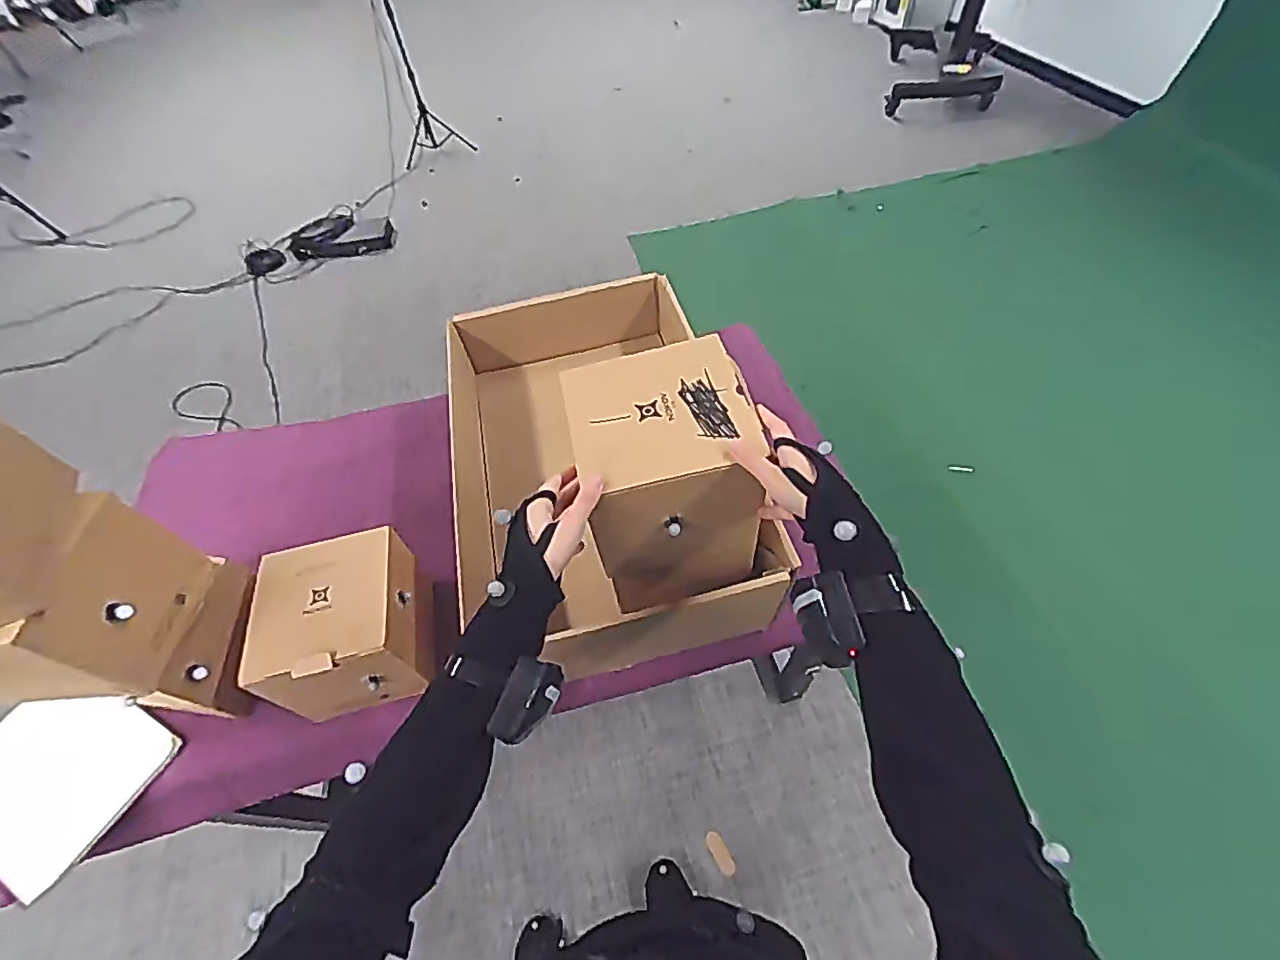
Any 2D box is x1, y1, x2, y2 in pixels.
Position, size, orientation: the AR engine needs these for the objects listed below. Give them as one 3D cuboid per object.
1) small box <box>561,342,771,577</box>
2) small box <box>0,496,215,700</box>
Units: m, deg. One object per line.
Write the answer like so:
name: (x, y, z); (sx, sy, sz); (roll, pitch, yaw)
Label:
small box: (0.024, -0.017, 0.585); (0.179, 0.176, 0.168); (-13, 54, -2)
small box: (-0.628, 0.134, 0.591); (0.179, 0.176, 0.168); (-4, 54, 3)
